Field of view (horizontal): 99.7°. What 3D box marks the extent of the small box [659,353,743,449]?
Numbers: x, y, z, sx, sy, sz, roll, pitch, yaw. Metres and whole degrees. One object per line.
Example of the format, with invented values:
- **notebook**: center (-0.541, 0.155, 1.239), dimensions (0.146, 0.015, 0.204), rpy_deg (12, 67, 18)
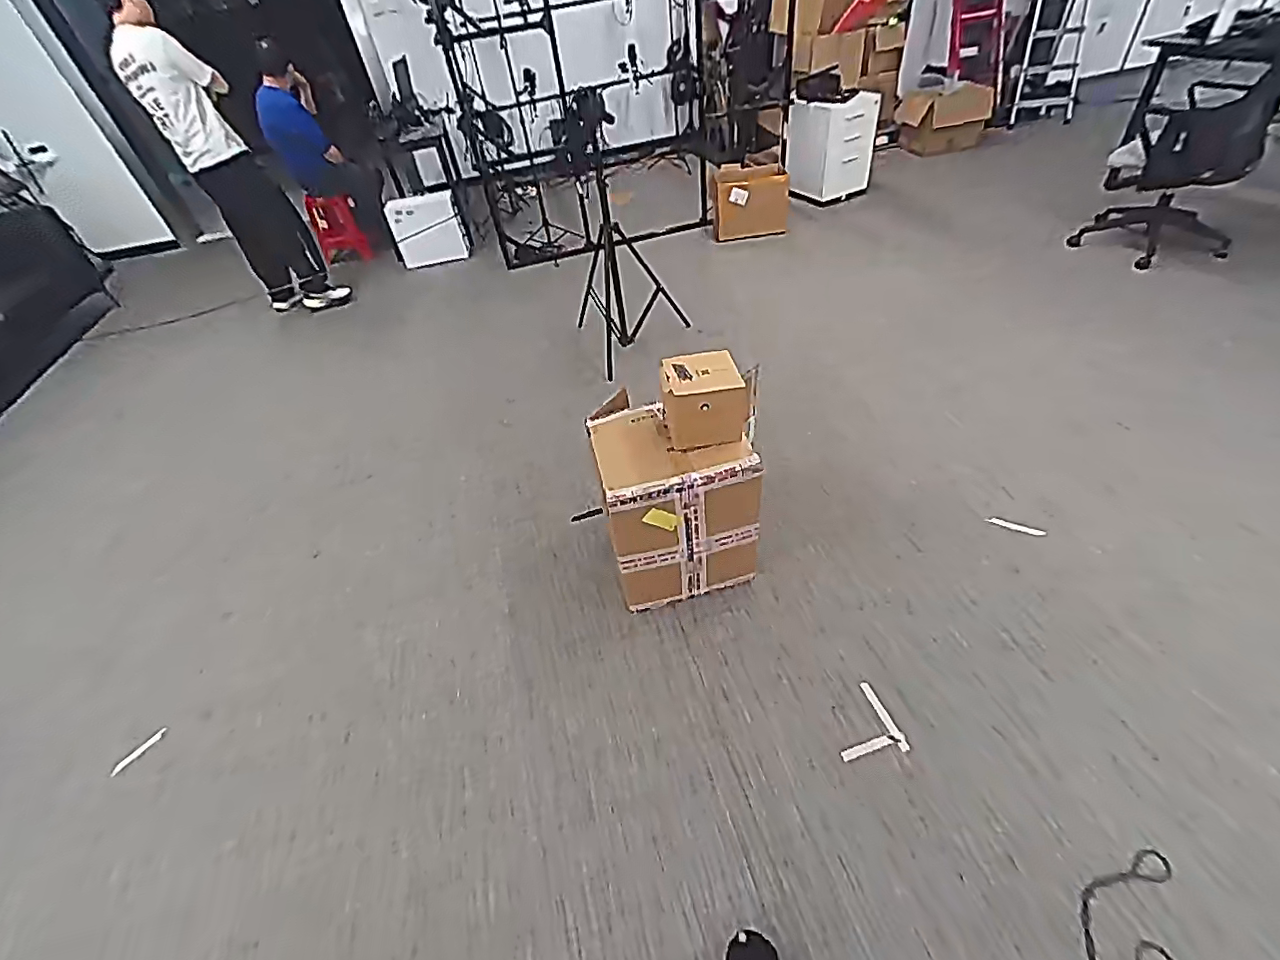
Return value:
- **small box**: center (0.152, -0.195, 1.366), dimensions (0.179, 0.176, 0.168), rpy_deg (-9, 45, -4)
